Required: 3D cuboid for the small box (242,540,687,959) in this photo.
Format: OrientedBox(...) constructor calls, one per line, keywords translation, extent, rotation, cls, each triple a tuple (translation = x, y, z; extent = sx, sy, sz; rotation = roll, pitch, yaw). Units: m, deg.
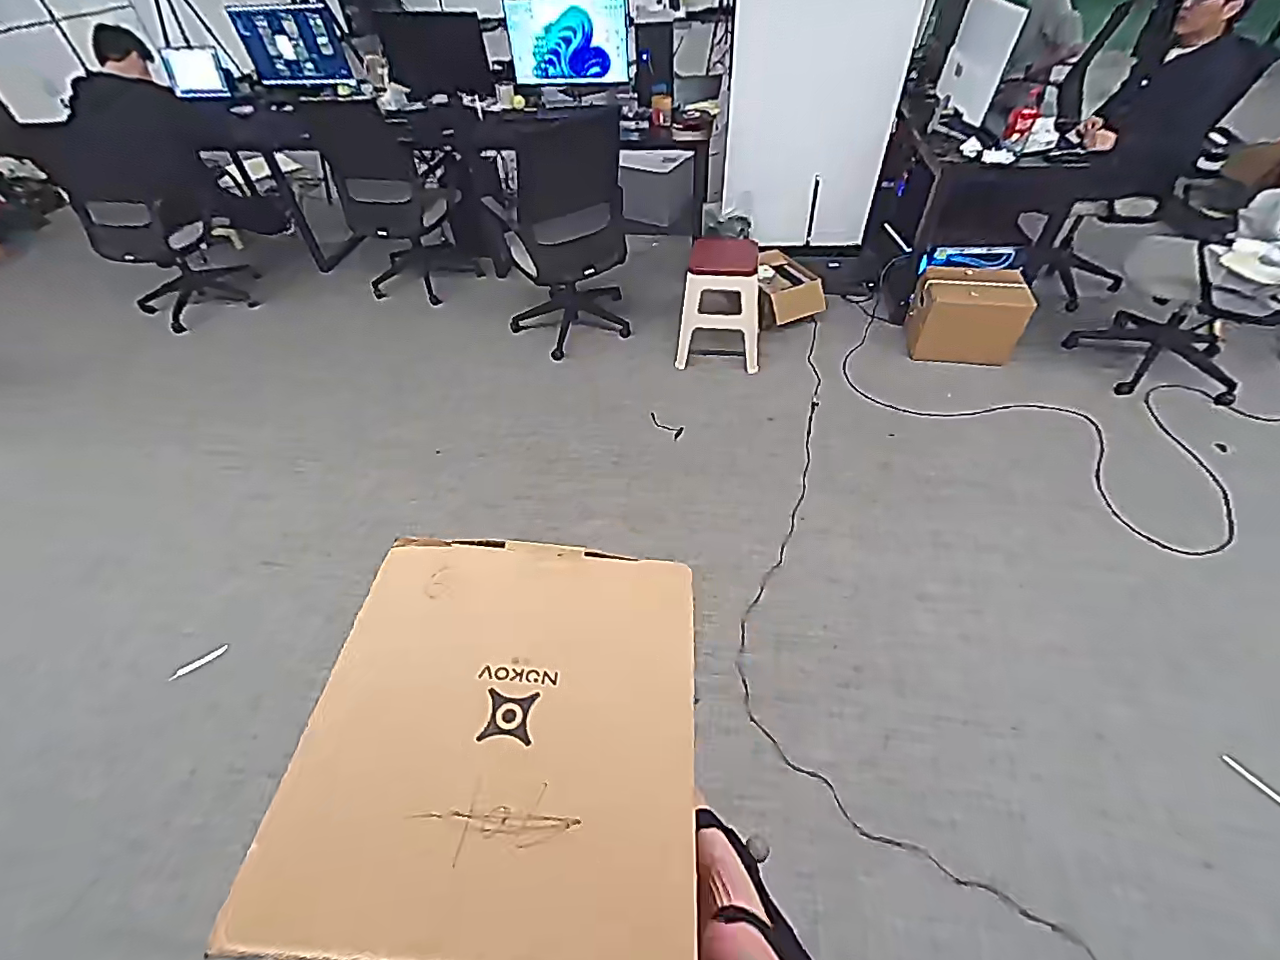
OrientedBox(translation=(-0.067, 0.160, 0.311), extent=(0.168, 0.176, 0.179), rotation=(6, 47, -1), cls="small box")
